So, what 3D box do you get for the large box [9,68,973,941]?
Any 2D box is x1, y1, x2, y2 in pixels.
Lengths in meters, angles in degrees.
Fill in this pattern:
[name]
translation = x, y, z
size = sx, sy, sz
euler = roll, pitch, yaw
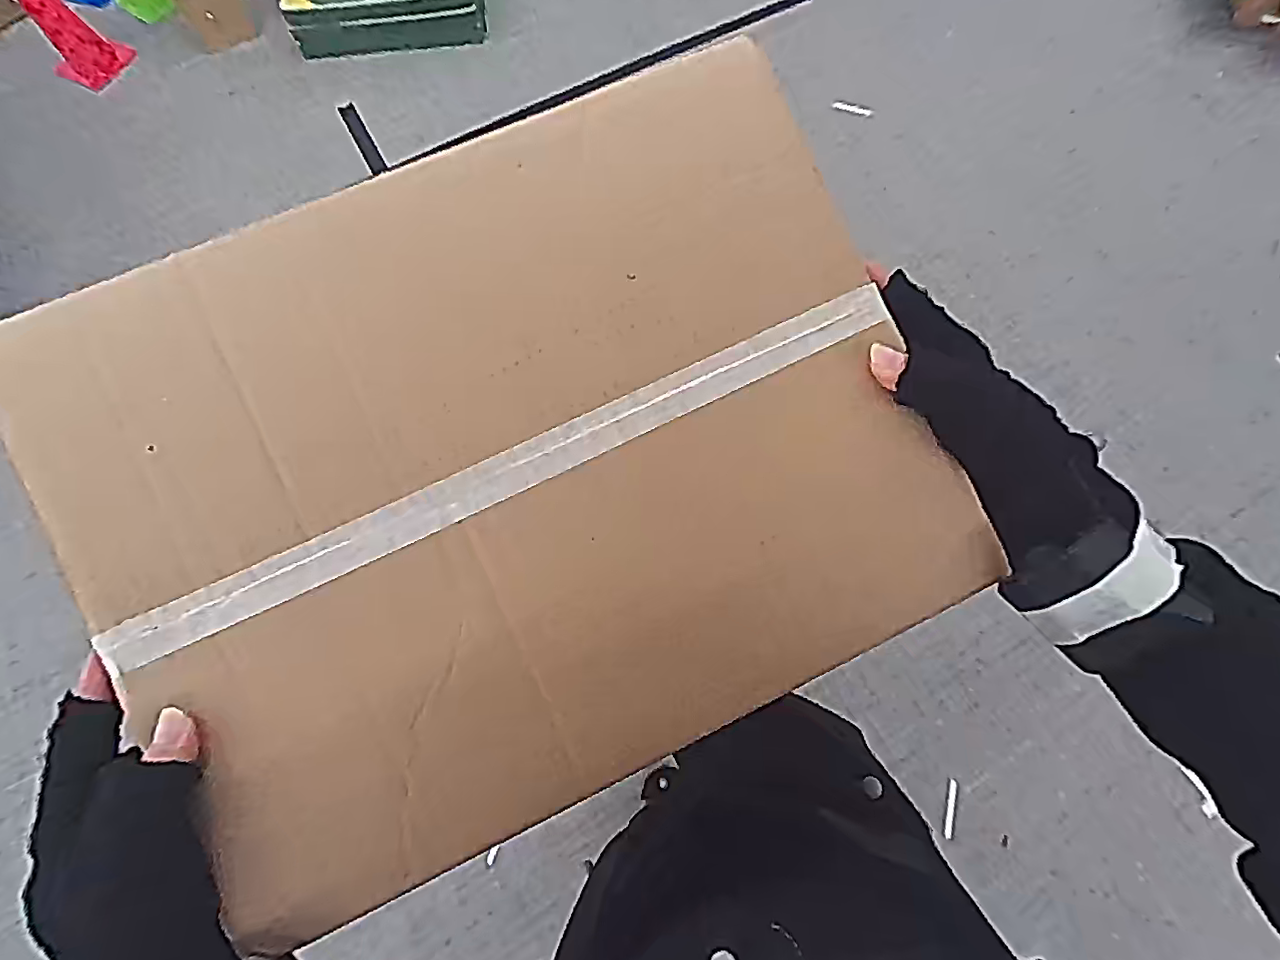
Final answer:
[large box]
translation = -0.069, 0.002, 0.421
size = 0.408, 0.320, 0.320
euler = -25, 89, -6
